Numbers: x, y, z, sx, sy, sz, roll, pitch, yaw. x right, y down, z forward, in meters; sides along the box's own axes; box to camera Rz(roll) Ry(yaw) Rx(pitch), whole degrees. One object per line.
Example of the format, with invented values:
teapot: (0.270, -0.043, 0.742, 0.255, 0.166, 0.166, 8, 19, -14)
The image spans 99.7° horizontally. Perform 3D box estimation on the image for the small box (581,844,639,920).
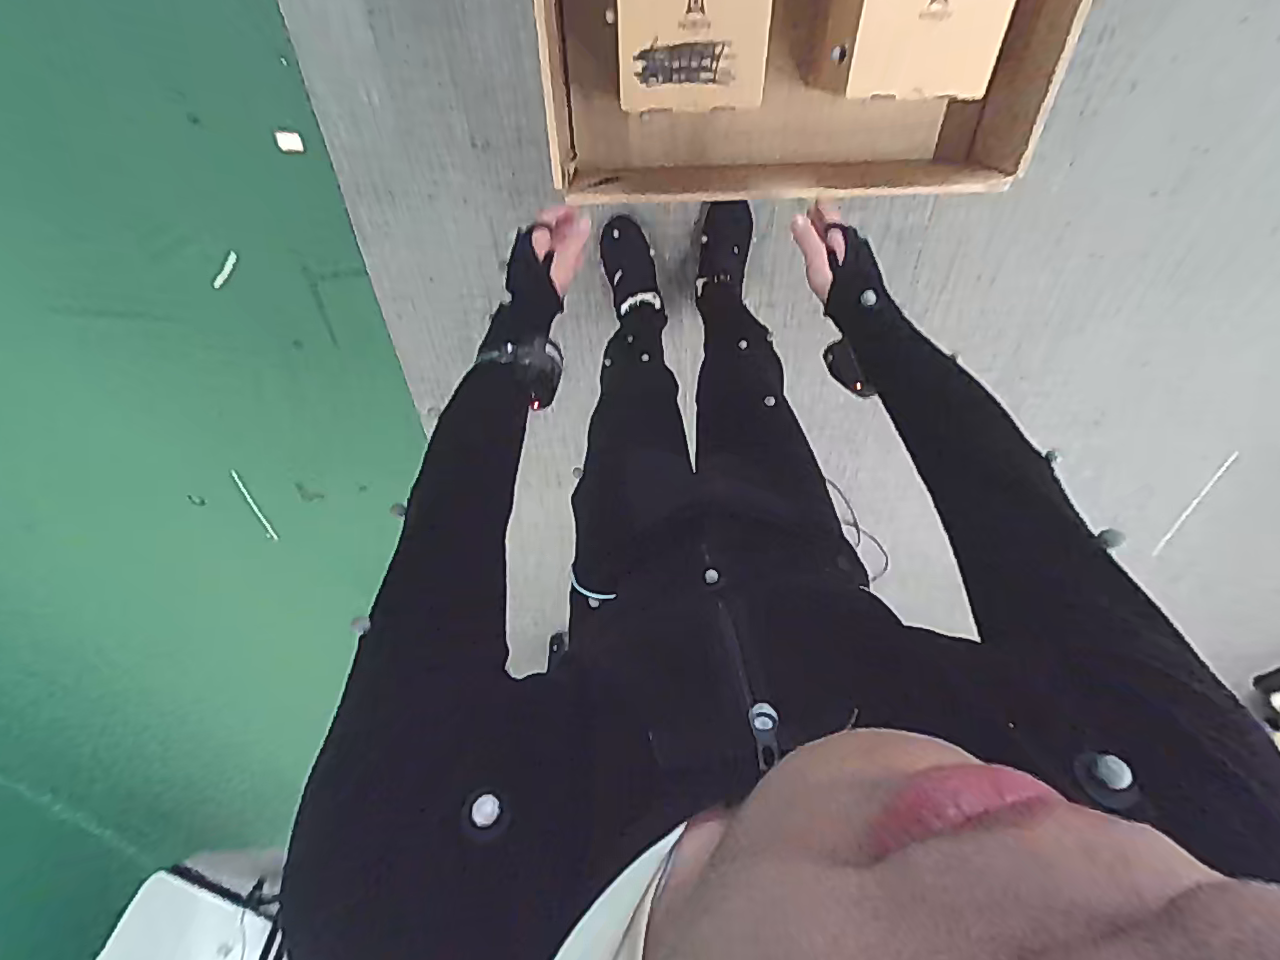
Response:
small box: (-0.094, 1.320, 1.778, 0.179, 0.176, 0.168, -3, 130, 1)
